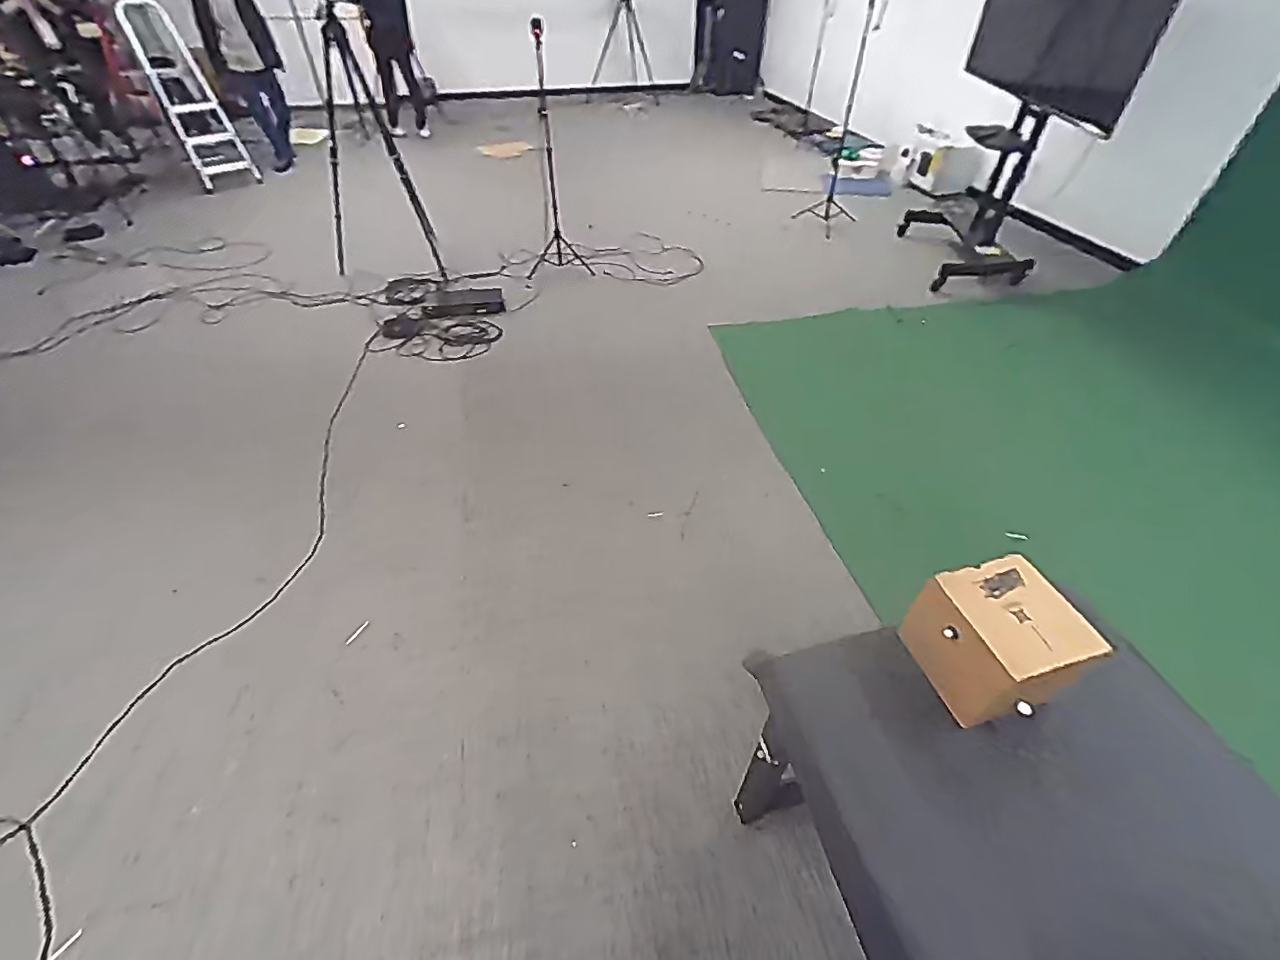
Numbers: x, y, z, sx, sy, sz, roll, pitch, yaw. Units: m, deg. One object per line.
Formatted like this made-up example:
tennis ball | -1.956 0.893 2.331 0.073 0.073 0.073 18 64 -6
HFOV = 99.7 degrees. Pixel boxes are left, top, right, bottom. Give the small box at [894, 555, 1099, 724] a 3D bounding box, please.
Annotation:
small box | 0.540 0.249 0.852 0.168 0.176 0.179 -11 46 -14
